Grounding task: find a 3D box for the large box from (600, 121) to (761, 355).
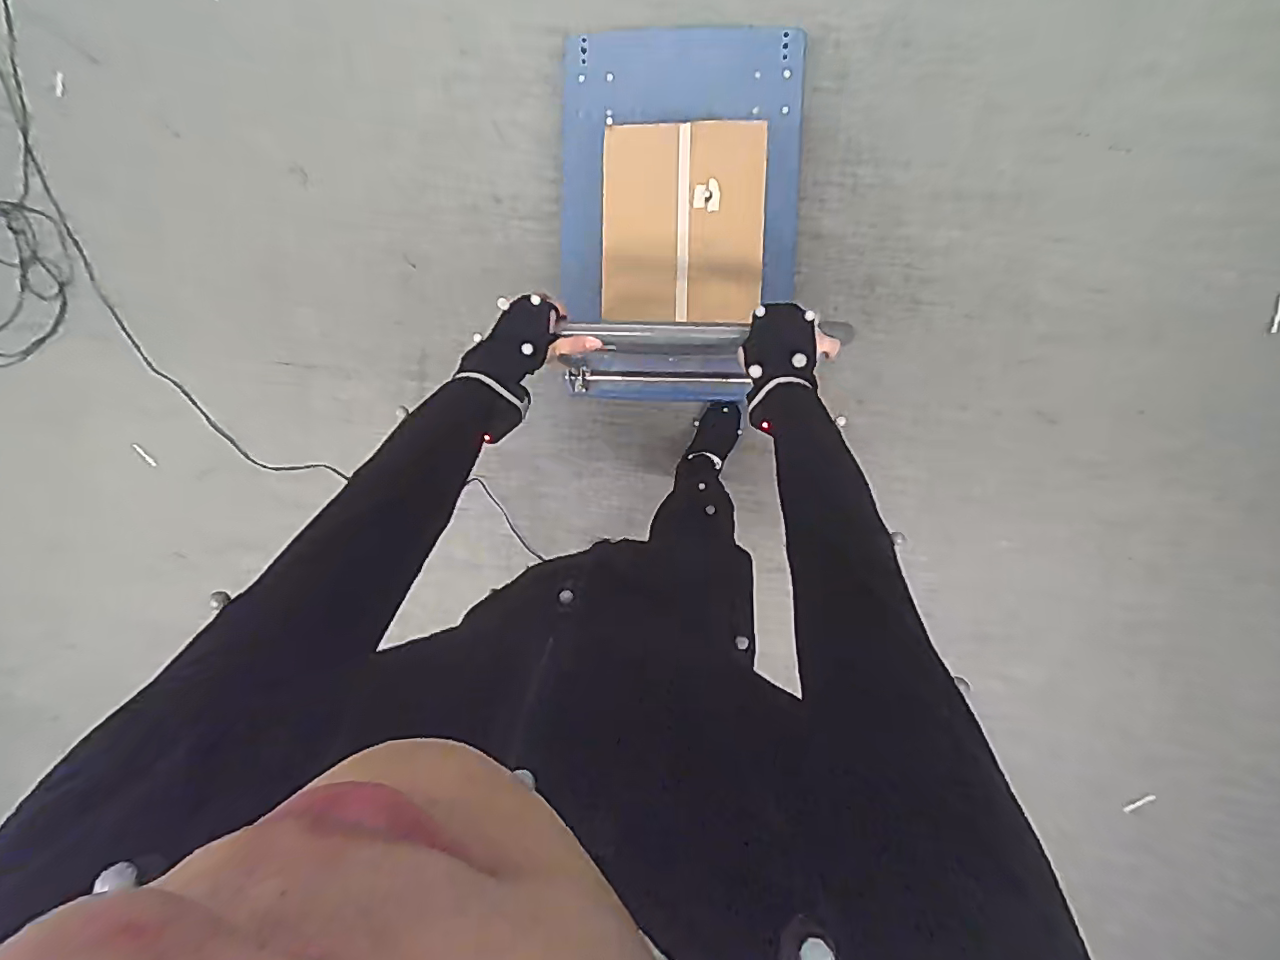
[{"bbox_3d":[0.091,-0.502,1.207,0.320,0.320,0.408,2,95,4],"label":"large box"}]
